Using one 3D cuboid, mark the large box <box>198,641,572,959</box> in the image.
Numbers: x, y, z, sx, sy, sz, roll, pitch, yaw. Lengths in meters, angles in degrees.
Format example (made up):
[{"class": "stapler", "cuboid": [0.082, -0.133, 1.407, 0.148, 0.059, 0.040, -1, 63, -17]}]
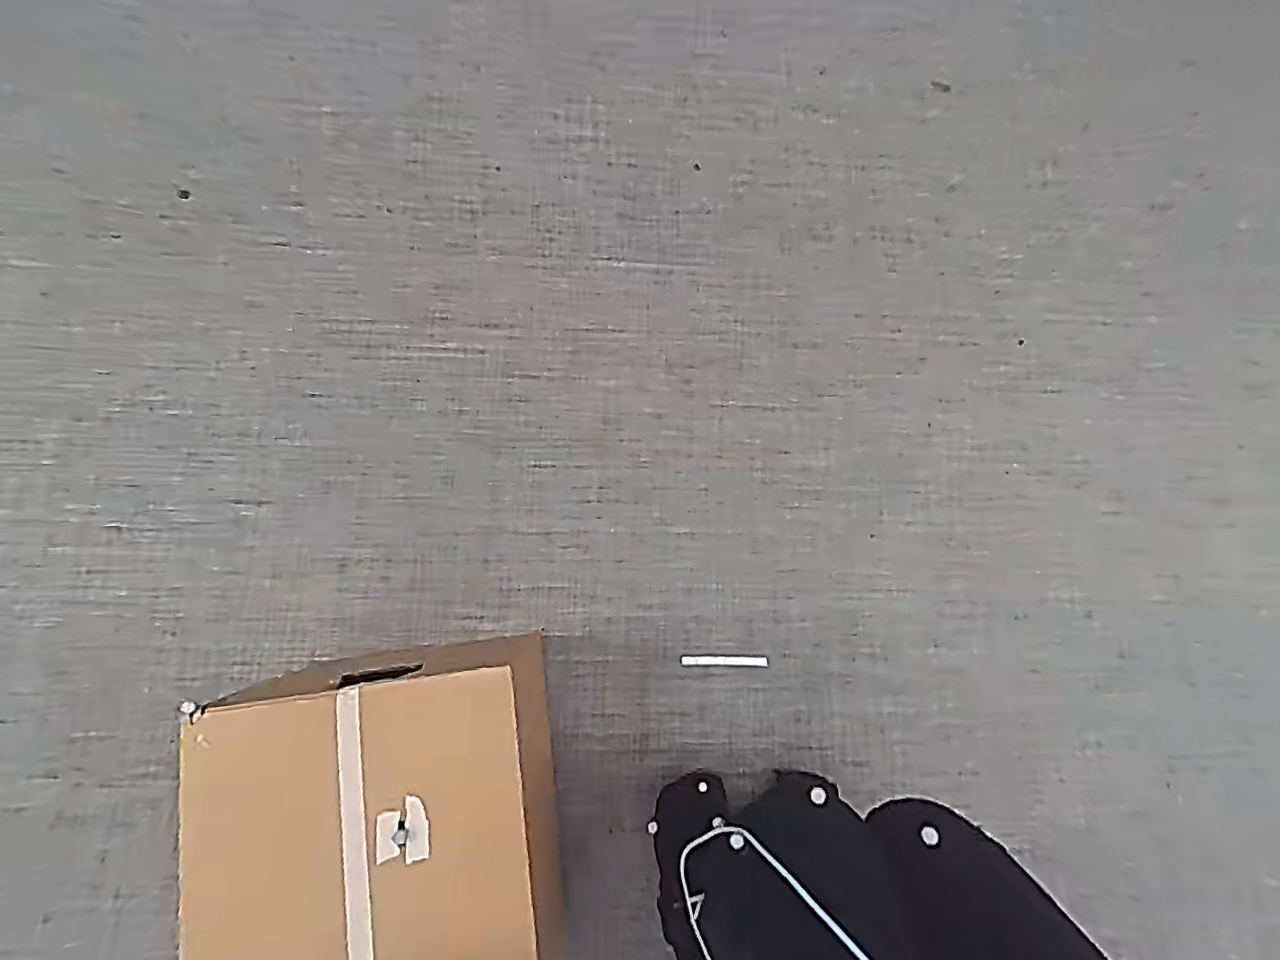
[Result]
[{"class": "large box", "cuboid": [-0.266, 0.436, 0.659, 0.320, 0.320, 0.408, -7, 79, -7]}]
